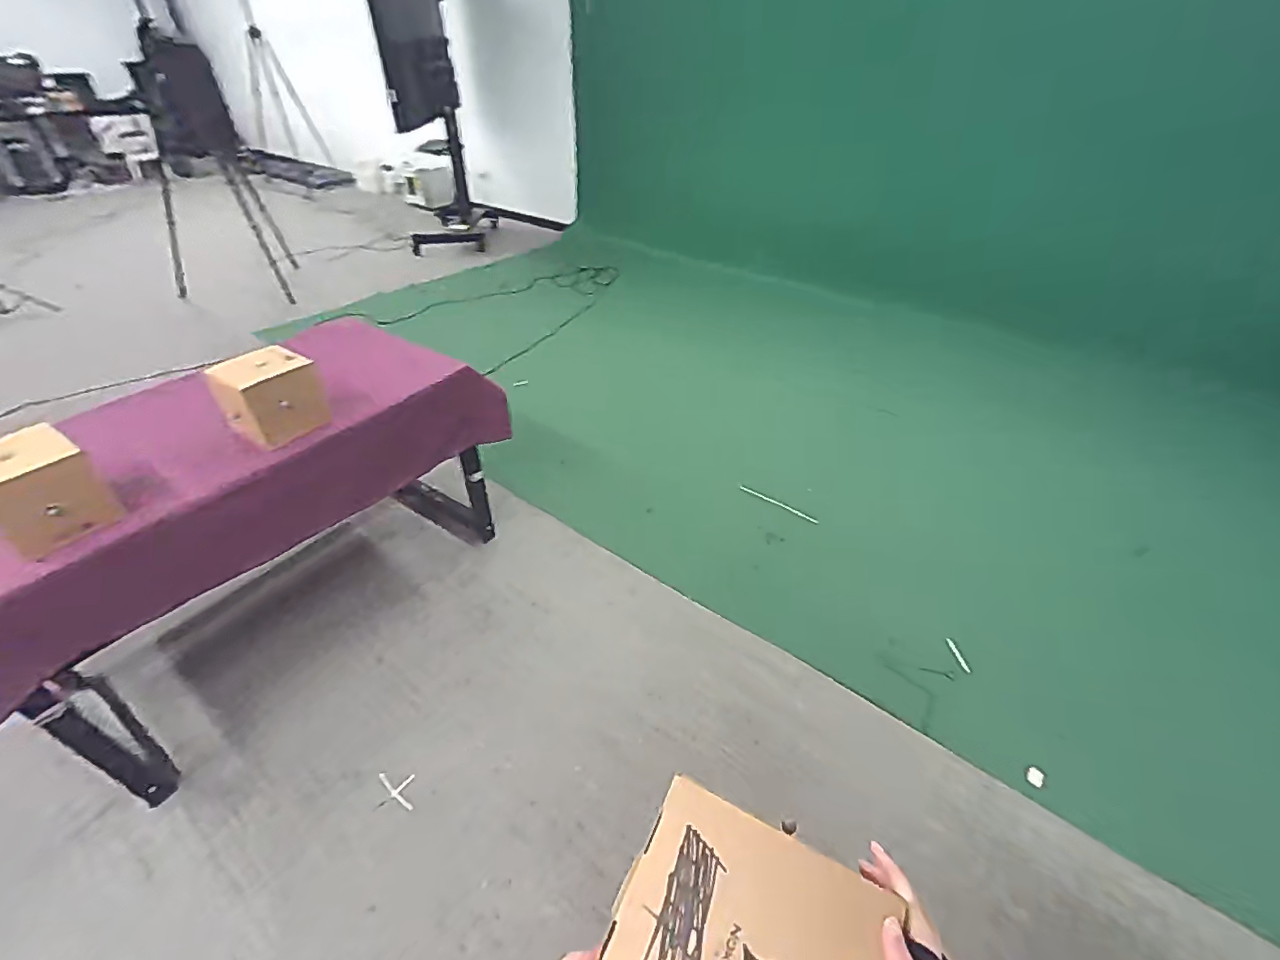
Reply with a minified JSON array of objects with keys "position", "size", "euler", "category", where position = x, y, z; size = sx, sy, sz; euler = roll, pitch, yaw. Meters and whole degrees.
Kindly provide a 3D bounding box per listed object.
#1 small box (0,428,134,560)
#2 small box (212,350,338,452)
[{"position":[-1.152,0.030,1.054],"size":[0.179,0.176,0.168],"euler":[23,43,26],"category":"small box"},{"position":[-0.893,-0.195,1.341],"size":[0.168,0.176,0.179],"euler":[23,44,25],"category":"small box"}]
